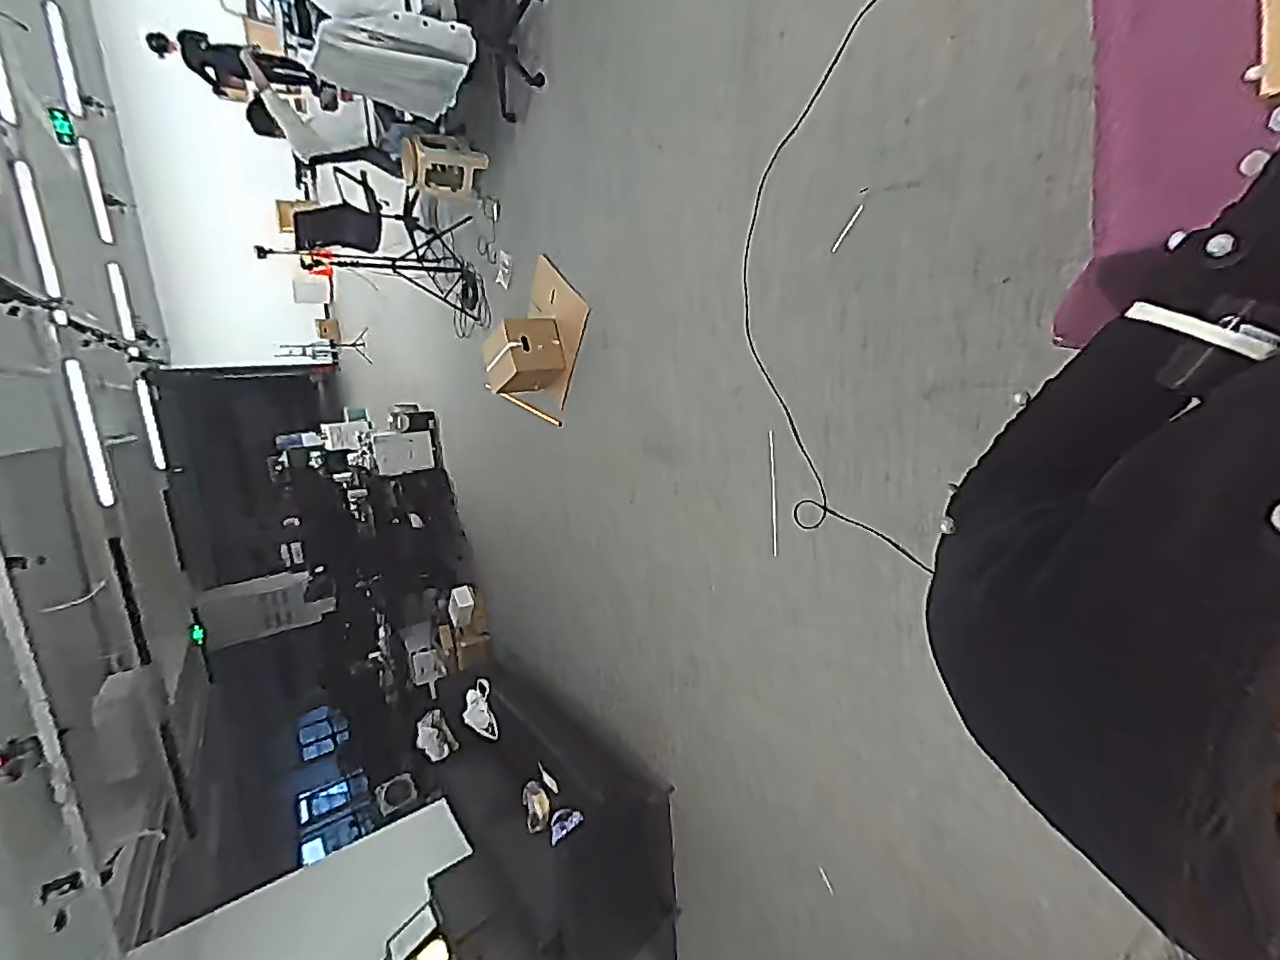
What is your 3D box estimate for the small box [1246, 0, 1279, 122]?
[{"bbox_3d":[0.568,-0.386,0.383,0.168,0.176,0.179,3,101,53],"label":"small box"}]
